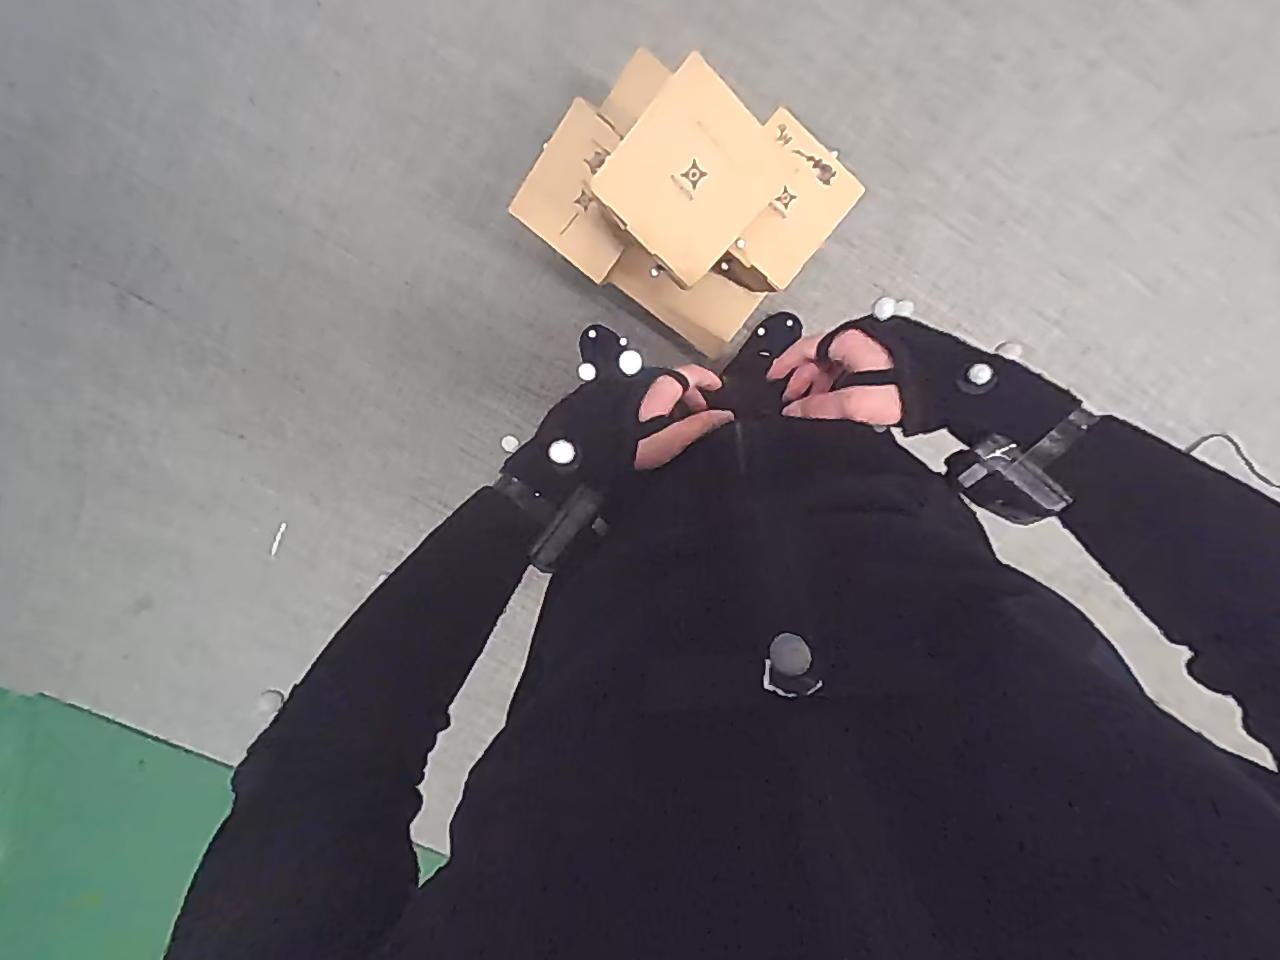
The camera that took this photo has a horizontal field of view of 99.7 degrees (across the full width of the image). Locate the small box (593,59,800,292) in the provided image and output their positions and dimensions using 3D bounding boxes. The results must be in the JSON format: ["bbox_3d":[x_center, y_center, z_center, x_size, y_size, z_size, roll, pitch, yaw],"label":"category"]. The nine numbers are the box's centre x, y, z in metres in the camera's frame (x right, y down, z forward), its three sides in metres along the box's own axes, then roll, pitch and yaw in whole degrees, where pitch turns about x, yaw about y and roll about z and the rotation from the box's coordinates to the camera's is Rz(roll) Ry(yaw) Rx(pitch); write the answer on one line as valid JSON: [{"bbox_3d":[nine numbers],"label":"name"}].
[{"bbox_3d":[0.064,-0.355,0.678,0.168,0.176,0.179,41,103,-12],"label":"small box"}]

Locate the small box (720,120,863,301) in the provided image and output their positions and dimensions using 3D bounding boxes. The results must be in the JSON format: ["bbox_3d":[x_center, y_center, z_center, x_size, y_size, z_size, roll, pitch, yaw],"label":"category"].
[{"bbox_3d":[0.200,-0.396,0.836,0.168,0.176,0.179,37,104,-10],"label":"small box"}]

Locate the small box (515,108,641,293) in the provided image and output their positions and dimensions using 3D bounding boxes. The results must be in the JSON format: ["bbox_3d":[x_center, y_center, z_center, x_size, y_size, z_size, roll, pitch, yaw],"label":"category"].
[{"bbox_3d":[-0.062,-0.414,0.833,0.168,0.176,0.179,38,107,-11],"label":"small box"}]
